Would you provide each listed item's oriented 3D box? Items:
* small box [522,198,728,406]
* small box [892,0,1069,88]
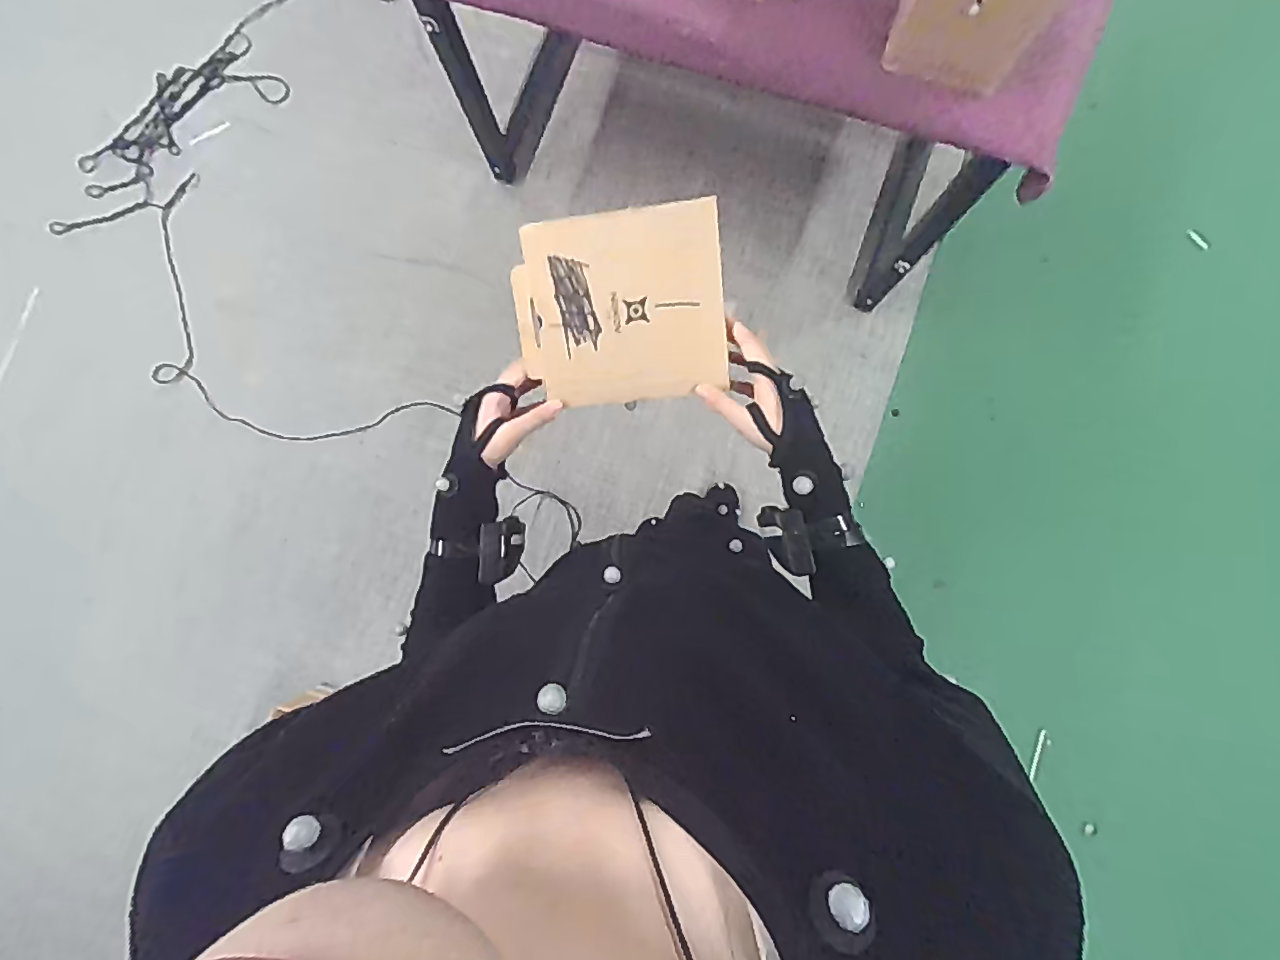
[{"bbox_3d":[-0.003,-0.176,0.570,0.179,0.176,0.168,-6,105,8],"label":"small box"},{"bbox_3d":[0.493,-0.704,0.765,0.179,0.176,0.168,18,87,6],"label":"small box"}]
